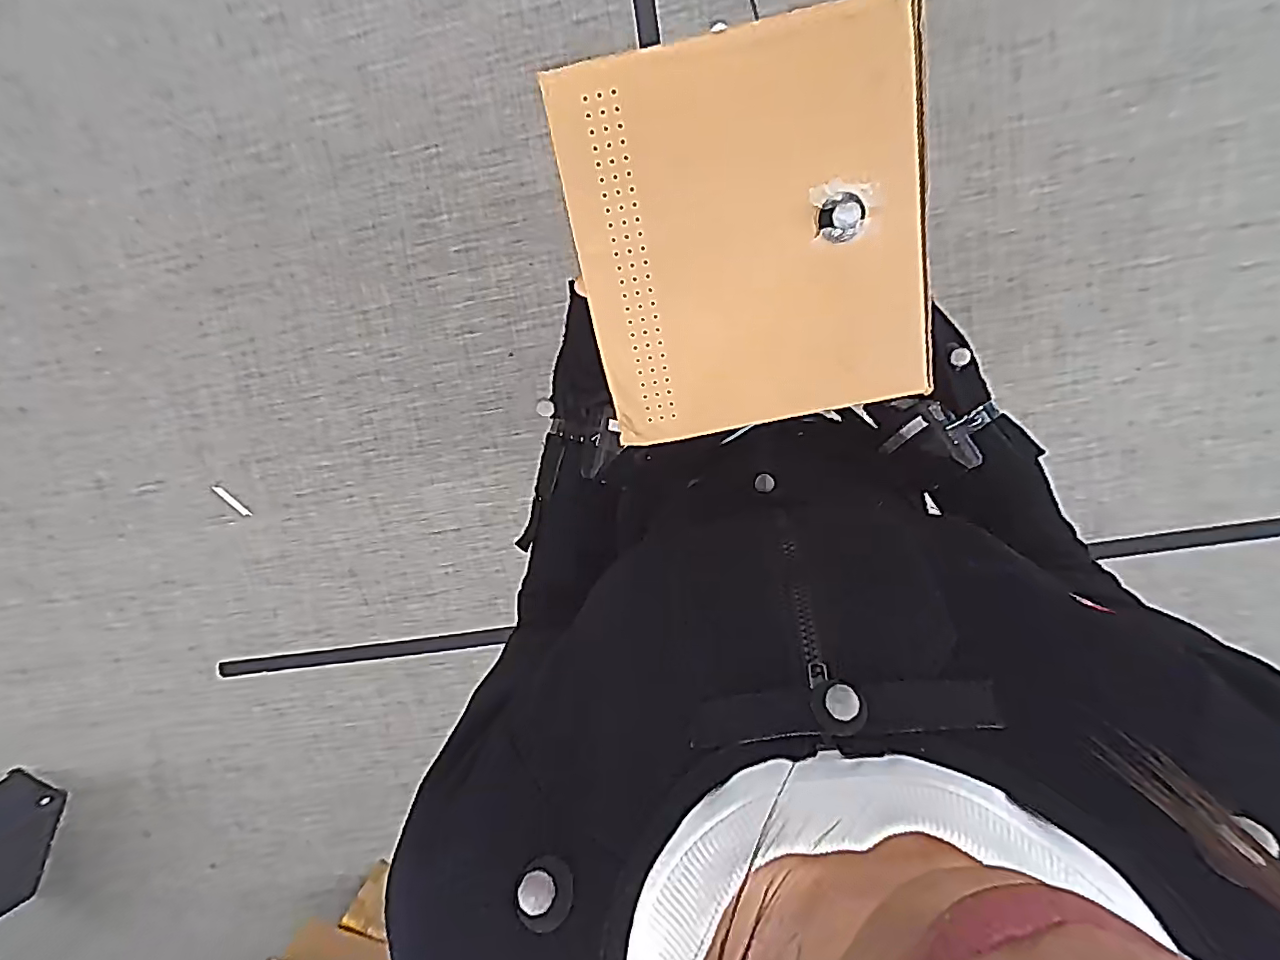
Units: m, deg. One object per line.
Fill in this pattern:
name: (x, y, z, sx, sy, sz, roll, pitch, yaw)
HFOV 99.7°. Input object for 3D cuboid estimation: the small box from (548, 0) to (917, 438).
small box: (0.050, -0.142, 0.344, 0.176, 0.168, 0.179, -10, 110, 5)
